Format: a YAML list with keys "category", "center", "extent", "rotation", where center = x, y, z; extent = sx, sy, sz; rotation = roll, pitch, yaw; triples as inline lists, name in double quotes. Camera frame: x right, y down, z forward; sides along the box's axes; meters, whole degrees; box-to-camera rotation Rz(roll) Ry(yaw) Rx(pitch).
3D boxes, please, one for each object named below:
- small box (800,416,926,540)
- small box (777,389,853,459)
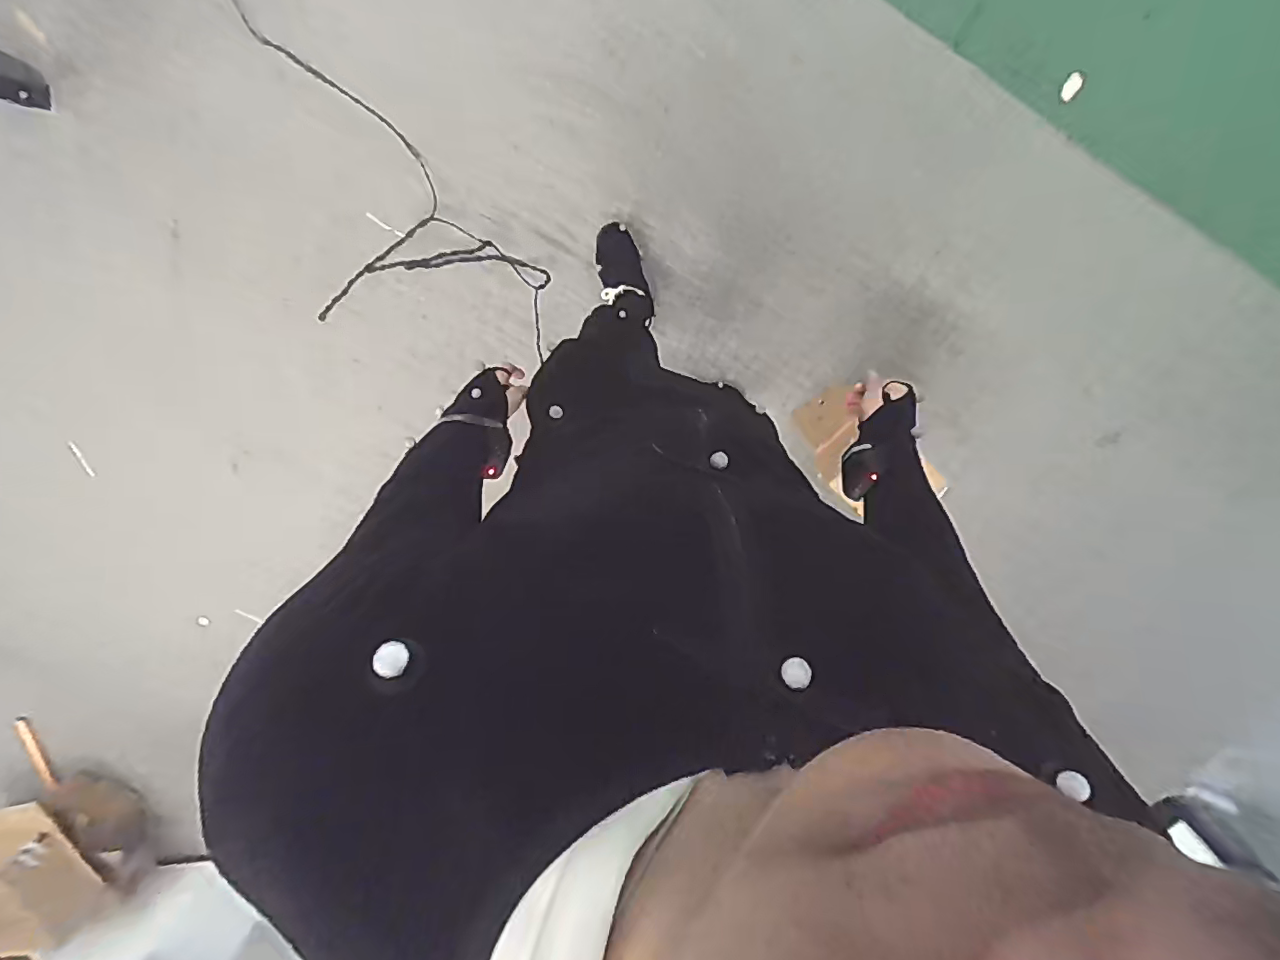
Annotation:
- category: "small box"
  center: [0.468, -0.010, 1.169]
  extent: [0.179, 0.176, 0.168]
  rotation: [-41, 104, 17]
- category: "small box"
  center: [0.495, -0.130, 1.474]
  extent: [0.168, 0.176, 0.179]
  rotation: [-35, 105, 17]
